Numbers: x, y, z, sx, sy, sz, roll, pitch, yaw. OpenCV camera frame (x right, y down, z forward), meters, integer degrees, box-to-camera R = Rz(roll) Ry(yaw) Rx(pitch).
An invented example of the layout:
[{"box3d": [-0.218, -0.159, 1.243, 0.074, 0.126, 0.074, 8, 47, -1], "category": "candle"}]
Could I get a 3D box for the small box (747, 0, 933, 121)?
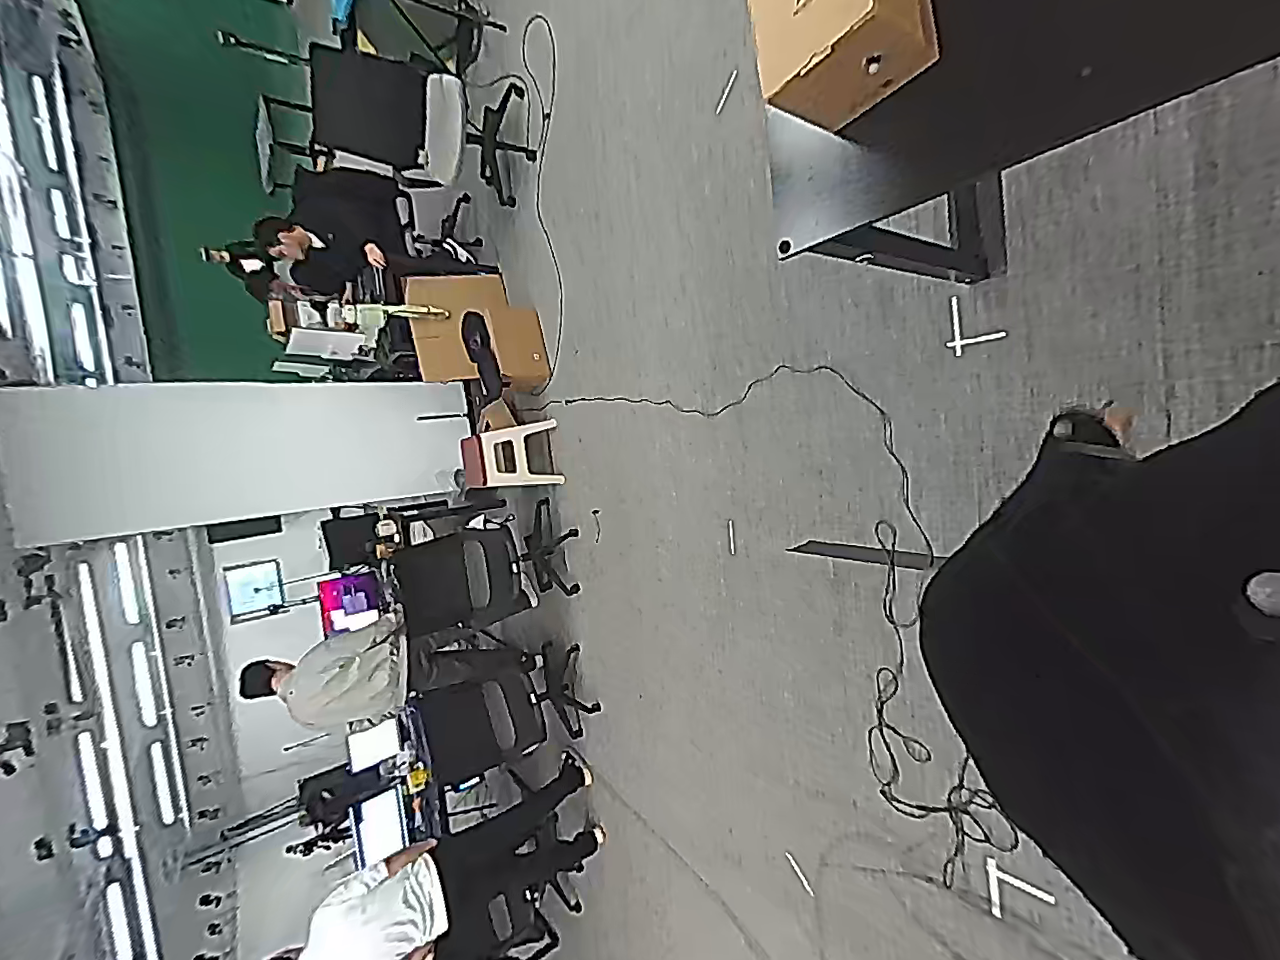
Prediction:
[{"box3d": [0.268, -0.621, 0.727, 0.168, 0.176, 0.179, -10, 89, 53], "category": "small box"}]
